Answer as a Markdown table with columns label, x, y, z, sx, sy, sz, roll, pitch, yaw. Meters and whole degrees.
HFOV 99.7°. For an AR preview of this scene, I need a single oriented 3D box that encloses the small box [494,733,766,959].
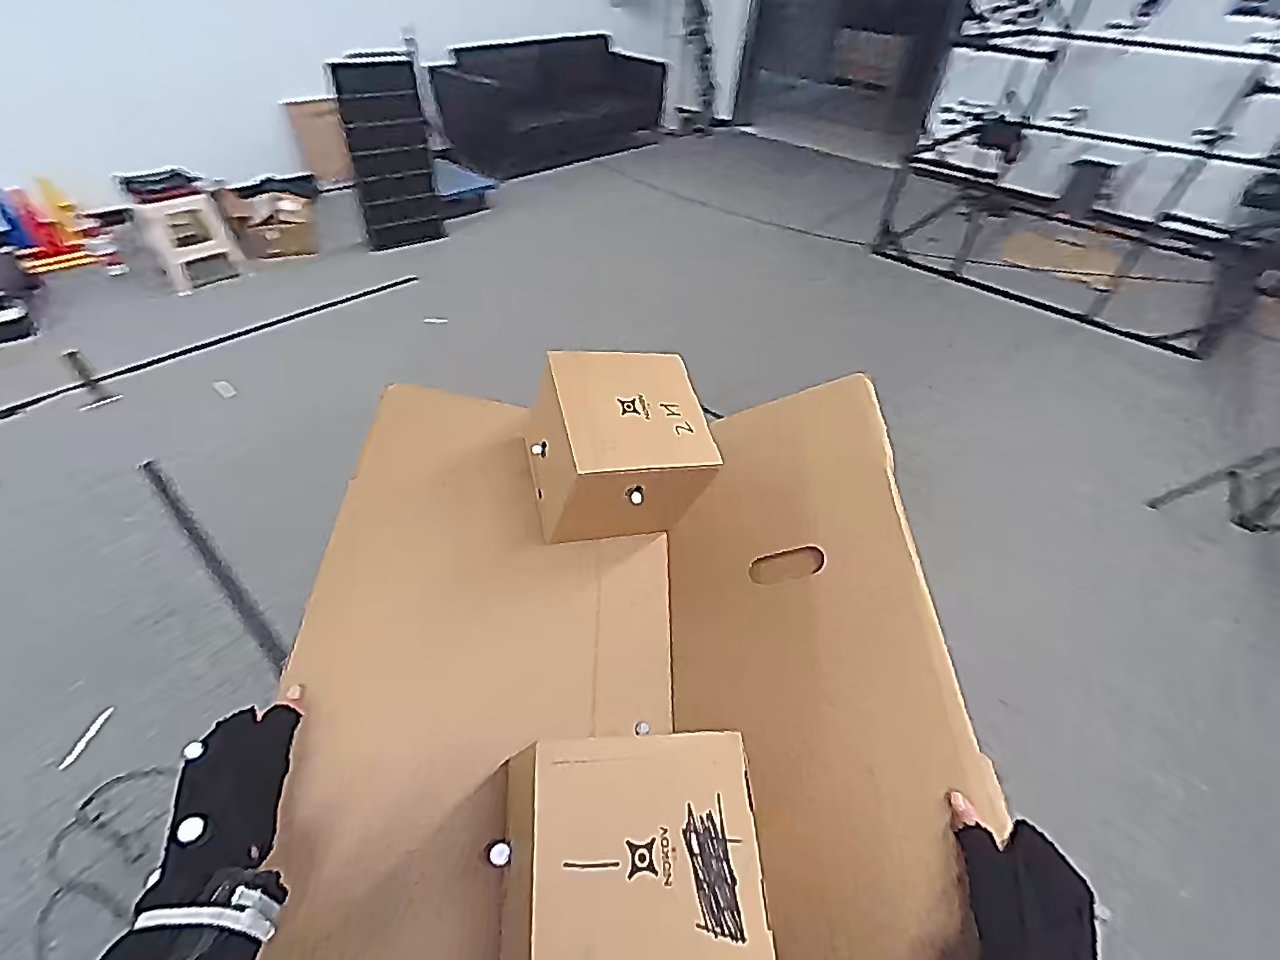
| label | x | y | z | sx | sy | sz | roll | pitch | yaw |
| --- | --- | --- | --- | --- | --- | --- | --- | --- | --- |
| small box | -0.022 | 0.316 | 0.459 | 0.179 | 0.176 | 0.168 | 5 | 58 | -18 |
